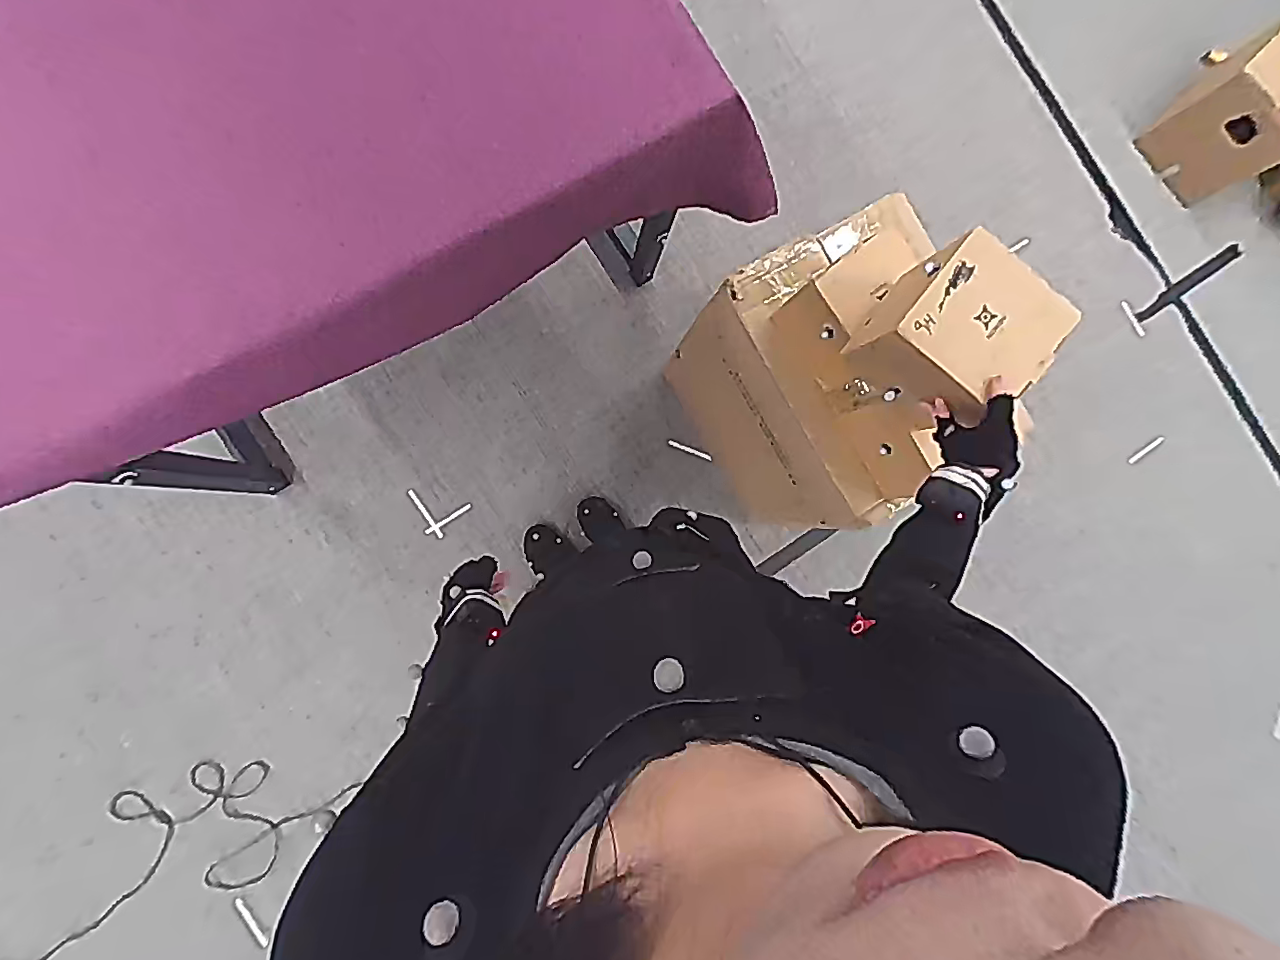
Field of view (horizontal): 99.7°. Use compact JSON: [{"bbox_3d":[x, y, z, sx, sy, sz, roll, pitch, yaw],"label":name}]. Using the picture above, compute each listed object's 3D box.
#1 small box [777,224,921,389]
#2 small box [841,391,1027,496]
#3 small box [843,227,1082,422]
[{"bbox_3d":[0.360,-0.276,0.901,0.168,0.176,0.179,-36,93,-7],"label":"small box"},{"bbox_3d":[0.477,-0.085,0.903,0.168,0.176,0.179,-31,88,-8],"label":"small box"},{"bbox_3d":[0.417,-0.192,0.729,0.179,0.176,0.168,39,89,-4],"label":"small box"}]
